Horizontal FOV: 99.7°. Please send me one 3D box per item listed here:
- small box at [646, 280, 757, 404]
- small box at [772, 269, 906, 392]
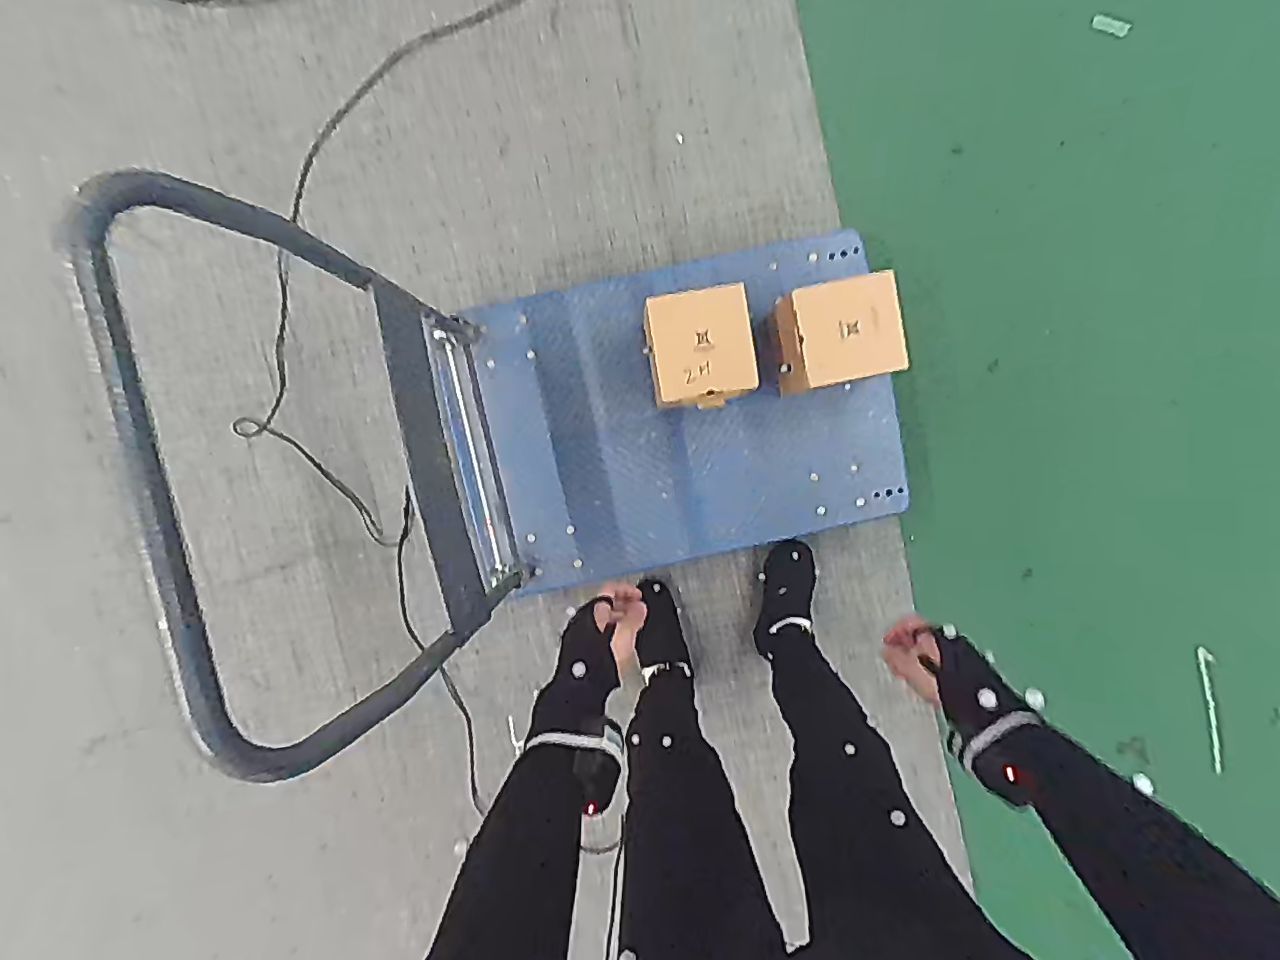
[{"bbox_3d":[0.103,-0.240,0.976,0.168,0.176,0.179,-8,94,0],"label":"small box"},{"bbox_3d":[0.347,-0.260,0.980,0.179,0.176,0.168,-10,94,0],"label":"small box"}]
